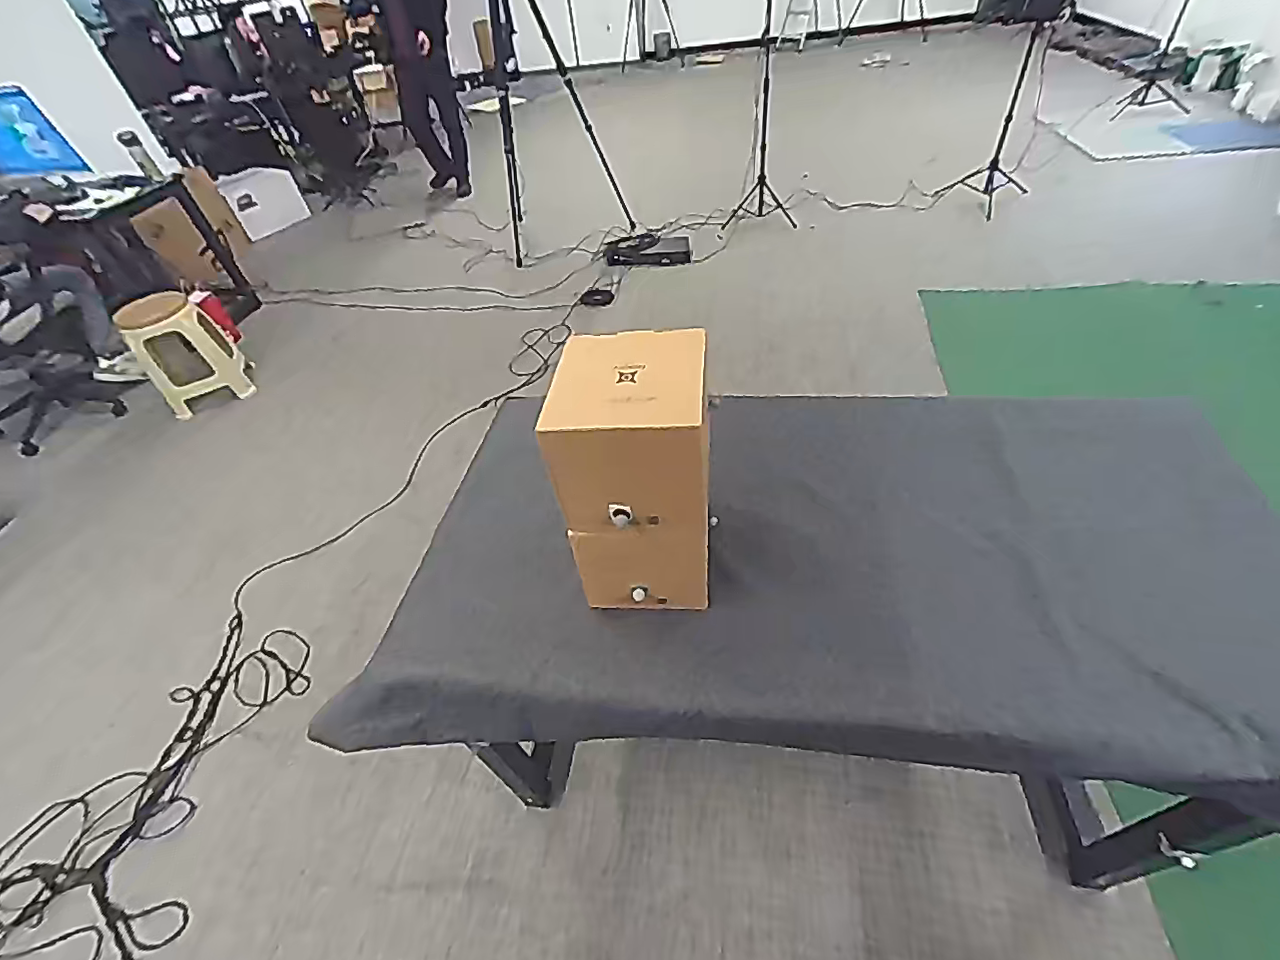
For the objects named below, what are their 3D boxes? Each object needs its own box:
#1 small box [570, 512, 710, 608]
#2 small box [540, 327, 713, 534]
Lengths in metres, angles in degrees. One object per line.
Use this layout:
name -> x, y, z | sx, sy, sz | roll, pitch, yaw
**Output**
small box -> 0.012, 0.056, 0.749 | 0.168, 0.176, 0.179 | -1, 46, 8
small box -> -0.001, -0.058, 0.634 | 0.168, 0.176, 0.179 | -1, 46, 9
